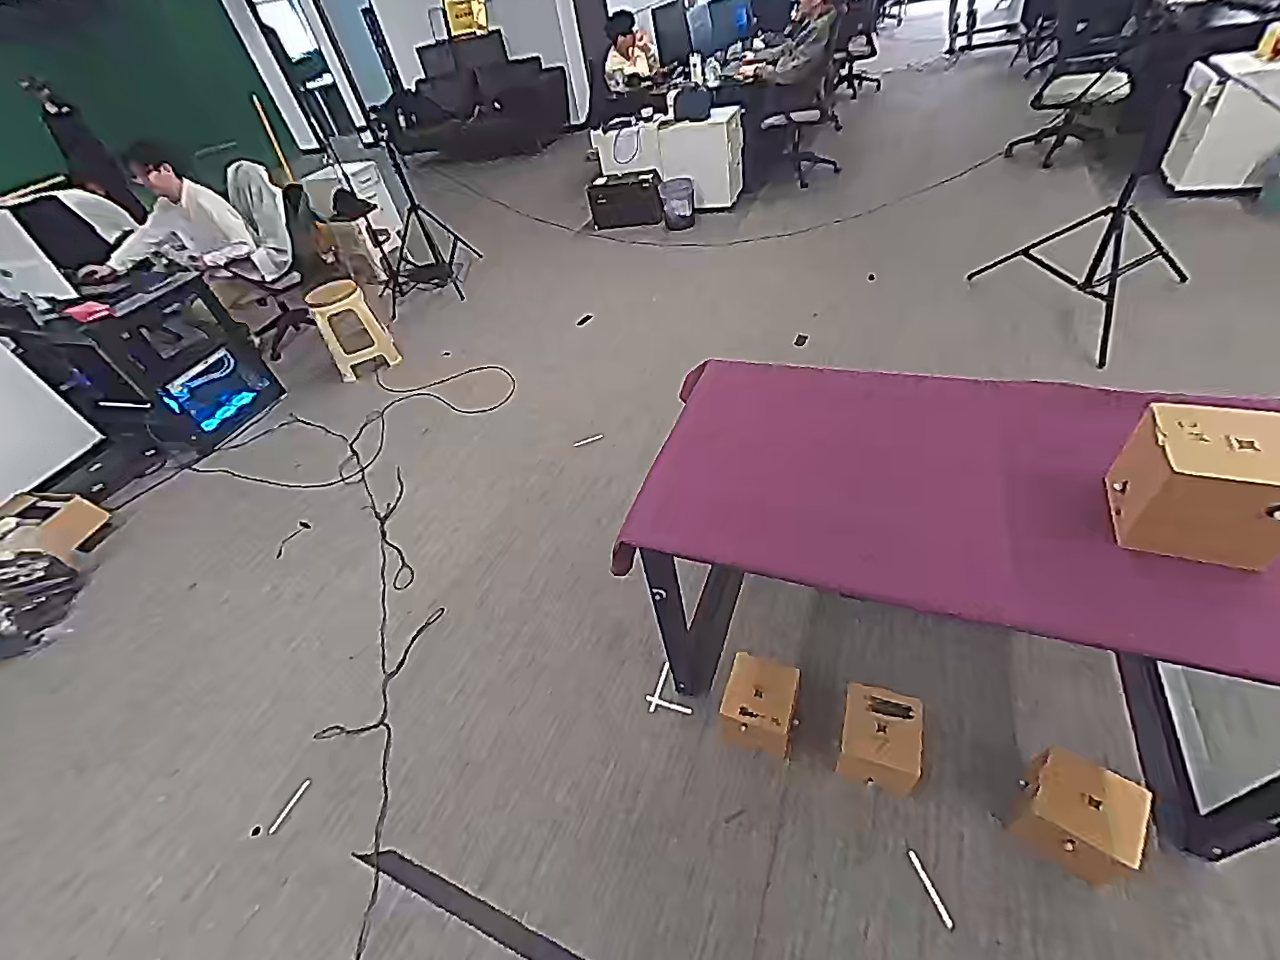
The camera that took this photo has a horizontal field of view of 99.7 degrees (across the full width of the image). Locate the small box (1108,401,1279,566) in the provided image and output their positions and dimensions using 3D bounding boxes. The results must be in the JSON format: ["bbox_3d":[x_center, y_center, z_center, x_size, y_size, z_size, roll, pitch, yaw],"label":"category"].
[{"bbox_3d":[0.853,0.006,0.810,0.179,0.176,0.168,11,48,23],"label":"small box"}]

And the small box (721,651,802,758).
[{"bbox_3d":[0.316,0.583,1.406,0.168,0.176,0.179,11,47,23],"label":"small box"}]

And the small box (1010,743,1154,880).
[{"bbox_3d":[0.923,0.703,1.141,0.179,0.176,0.168,24,55,34],"label":"small box"}]
